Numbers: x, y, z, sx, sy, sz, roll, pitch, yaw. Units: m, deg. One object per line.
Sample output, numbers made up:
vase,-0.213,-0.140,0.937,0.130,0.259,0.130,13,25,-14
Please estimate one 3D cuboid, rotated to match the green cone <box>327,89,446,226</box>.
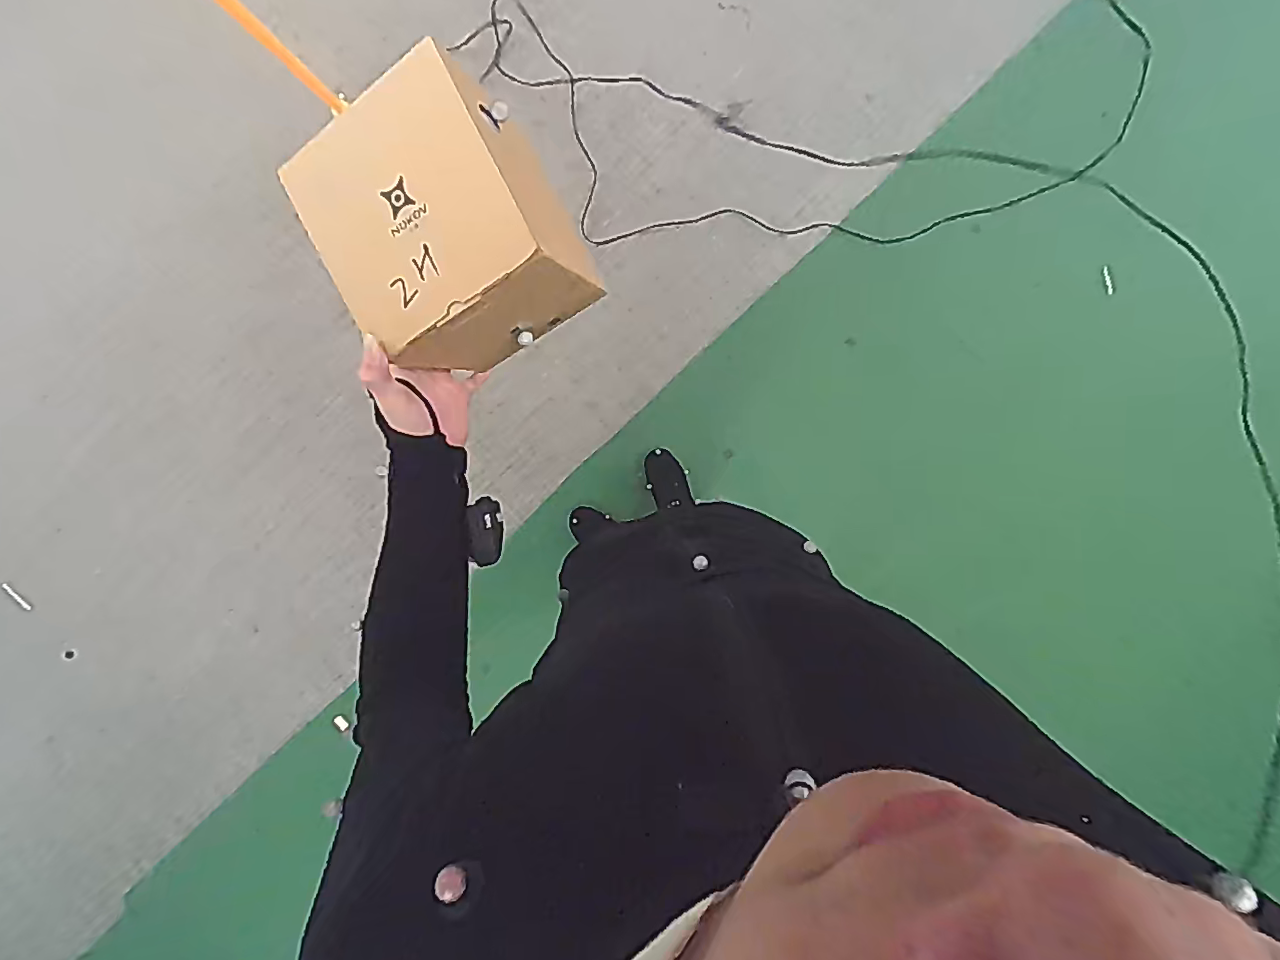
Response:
green cone,-0.673,-0.839,1.358,0.202,0.368,0.200,-42,94,1
